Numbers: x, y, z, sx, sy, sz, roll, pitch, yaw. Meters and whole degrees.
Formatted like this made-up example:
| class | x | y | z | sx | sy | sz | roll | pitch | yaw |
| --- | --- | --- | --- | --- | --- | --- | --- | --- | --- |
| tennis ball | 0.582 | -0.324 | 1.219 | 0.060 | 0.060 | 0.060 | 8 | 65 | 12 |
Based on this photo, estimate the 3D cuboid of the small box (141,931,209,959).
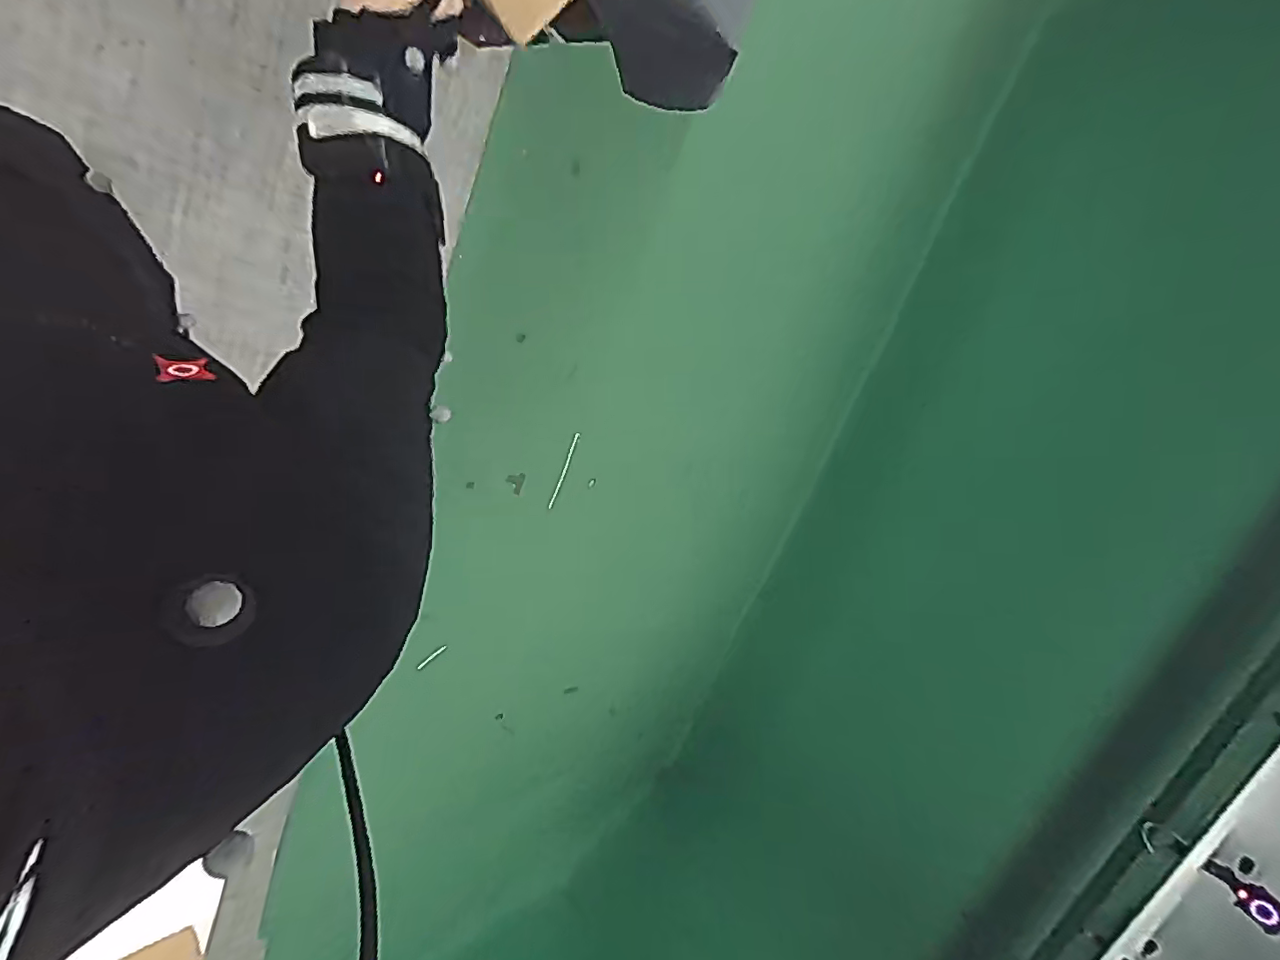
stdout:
| class | x | y | z | sx | sy | sz | roll | pitch | yaw |
| --- | --- | --- | --- | --- | --- | --- | --- | --- | --- |
| small box | -0.809 | 0.905 | 0.874 | 0.179 | 0.176 | 0.168 | -1 | 117 | -51 |

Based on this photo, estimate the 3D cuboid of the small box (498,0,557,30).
| class | x | y | z | sx | sy | sz | roll | pitch | yaw |
| --- | --- | --- | --- | --- | --- | --- | --- | --- | --- |
| small box | -0.088 | -0.470 | 0.357 | 0.179 | 0.176 | 0.168 | -35 | 149 | 15 |
